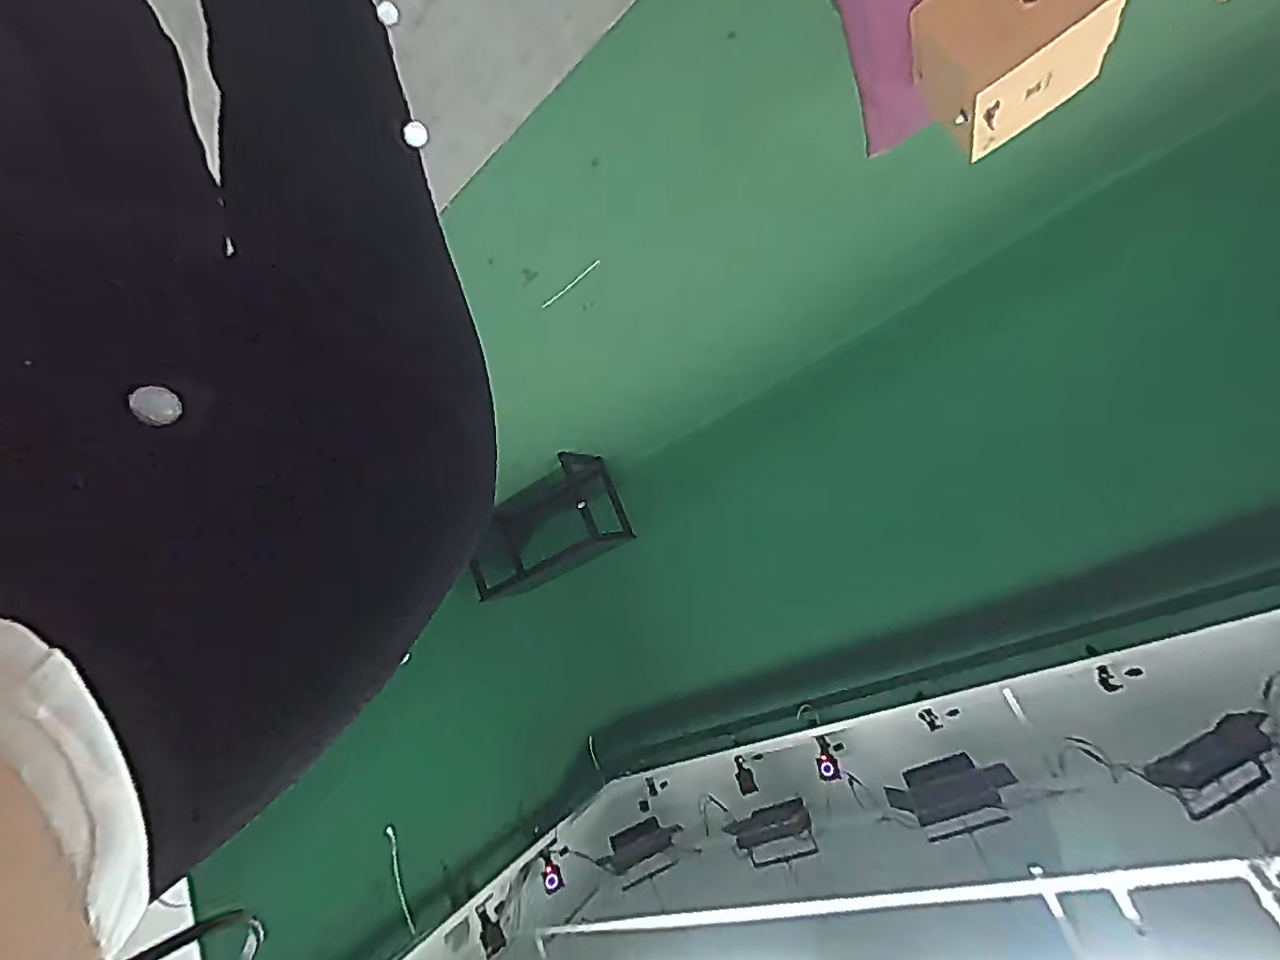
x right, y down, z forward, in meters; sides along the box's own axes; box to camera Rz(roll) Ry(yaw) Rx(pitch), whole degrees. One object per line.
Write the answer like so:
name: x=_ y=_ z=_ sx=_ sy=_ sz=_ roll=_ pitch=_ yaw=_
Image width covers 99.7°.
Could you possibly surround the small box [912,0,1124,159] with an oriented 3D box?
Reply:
small box: x=0.507 y=-0.606 z=0.746 sx=0.179 sy=0.176 sz=0.168 roll=-32 pitch=162 yaw=24
